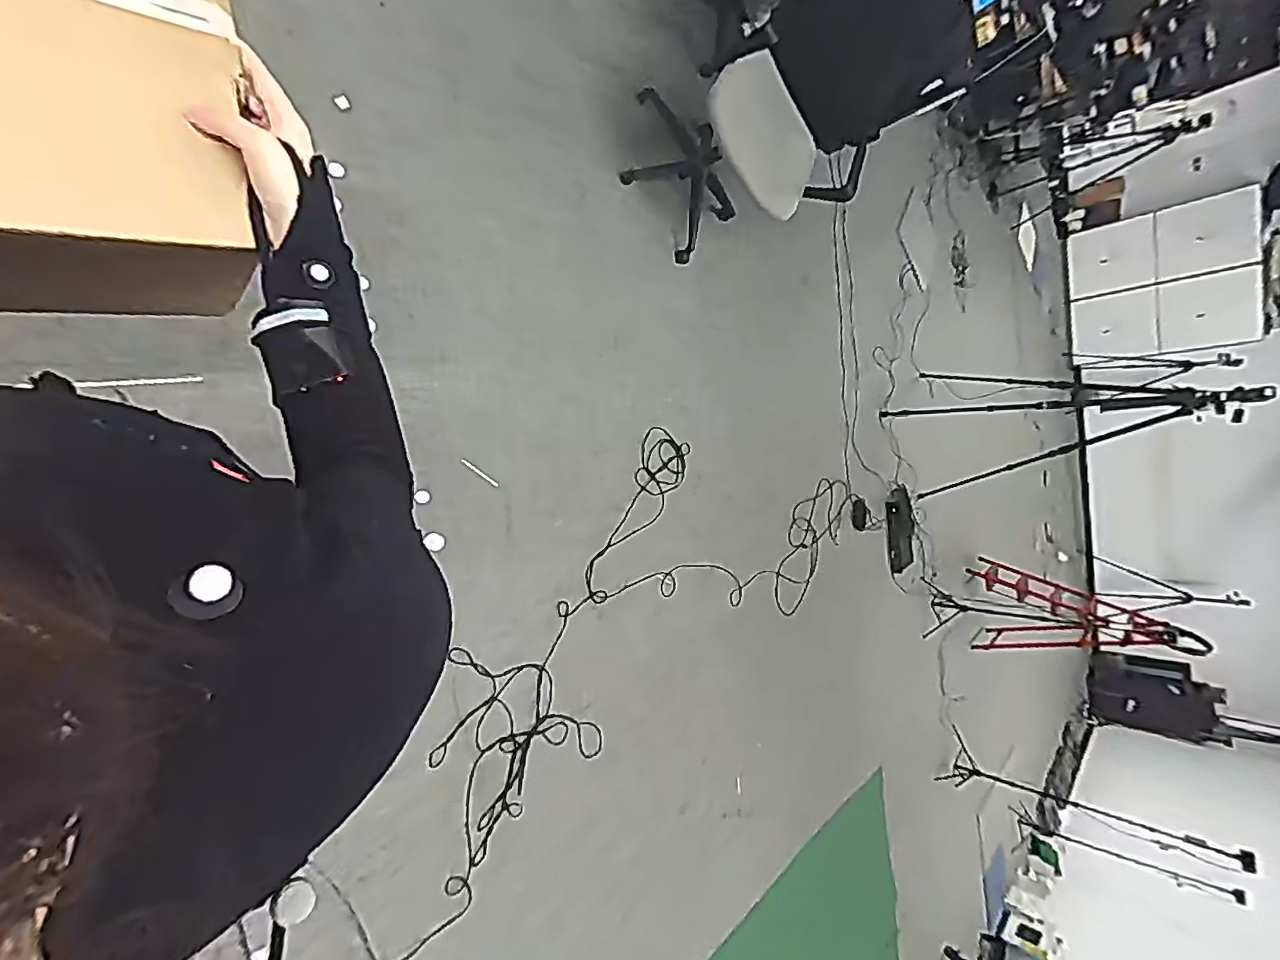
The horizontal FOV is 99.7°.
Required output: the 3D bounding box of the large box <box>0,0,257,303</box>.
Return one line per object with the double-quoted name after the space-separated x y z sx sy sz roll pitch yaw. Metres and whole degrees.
-0.564 -0.311 0.395 0.408 0.320 0.320 -13 102 -39 "large box"
